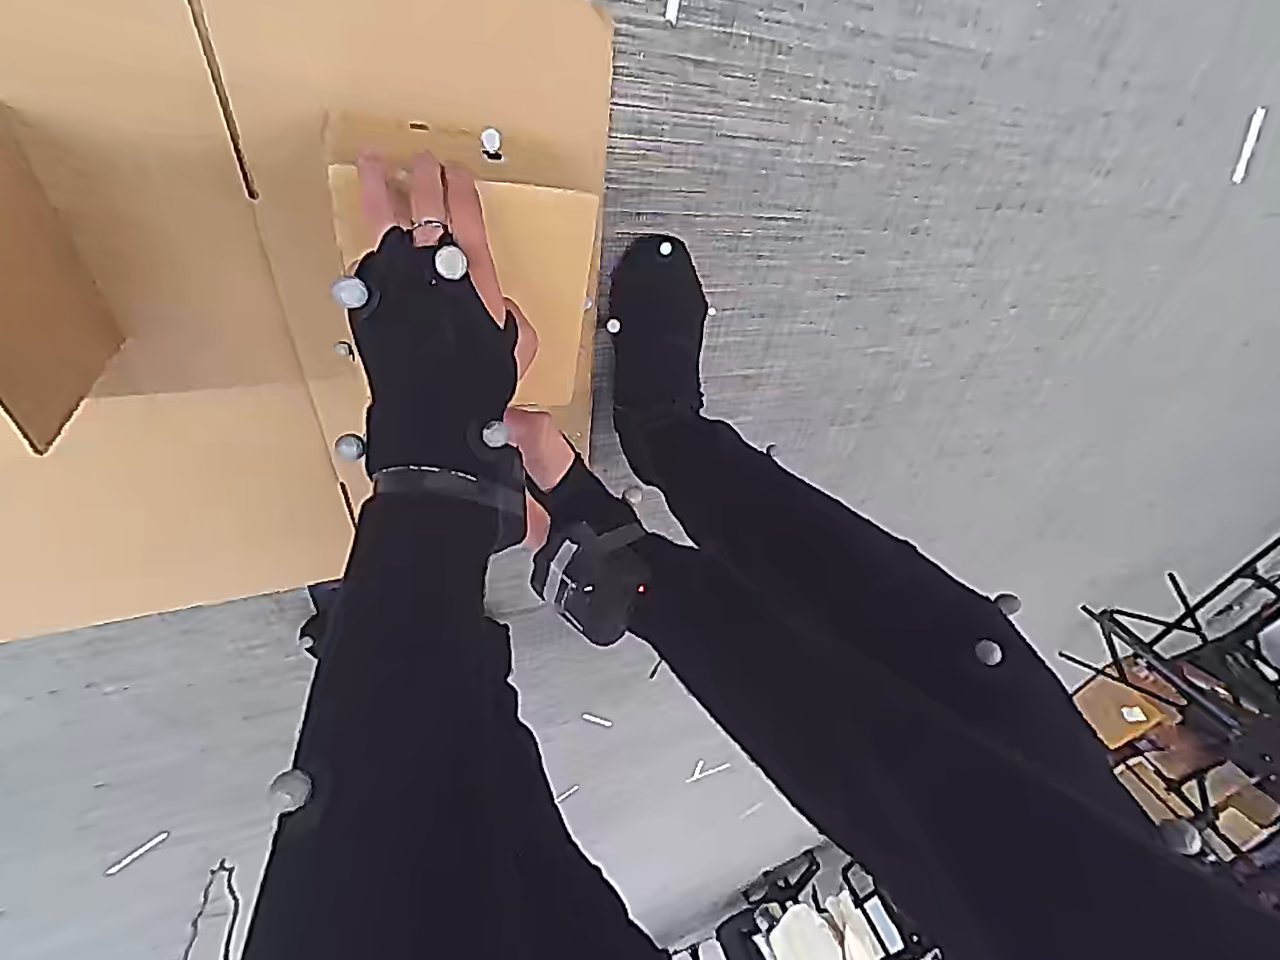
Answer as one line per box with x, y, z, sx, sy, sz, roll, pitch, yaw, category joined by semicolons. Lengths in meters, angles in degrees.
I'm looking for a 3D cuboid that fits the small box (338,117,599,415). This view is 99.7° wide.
-0.146;-0.176;0.446;0.168;0.176;0.179;-6;134;-22;small box
